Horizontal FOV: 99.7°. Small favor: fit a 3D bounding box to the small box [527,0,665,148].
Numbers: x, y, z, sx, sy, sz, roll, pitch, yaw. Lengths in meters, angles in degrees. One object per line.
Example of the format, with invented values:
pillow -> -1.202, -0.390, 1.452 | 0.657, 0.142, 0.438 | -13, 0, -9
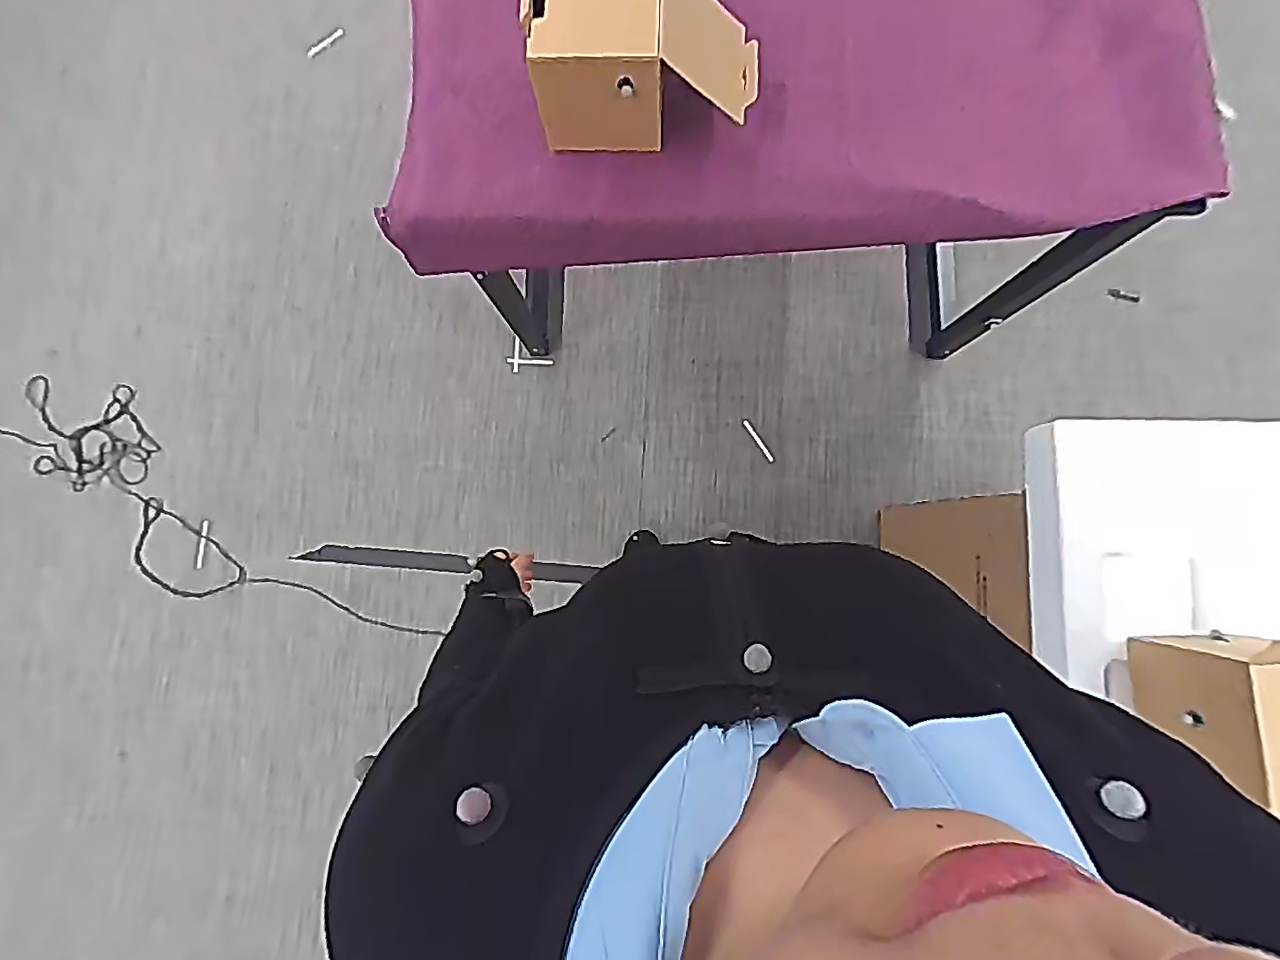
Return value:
small box -> -0.054, -0.614, 0.785 | 0.179, 0.176, 0.168 | 2, 83, 3
